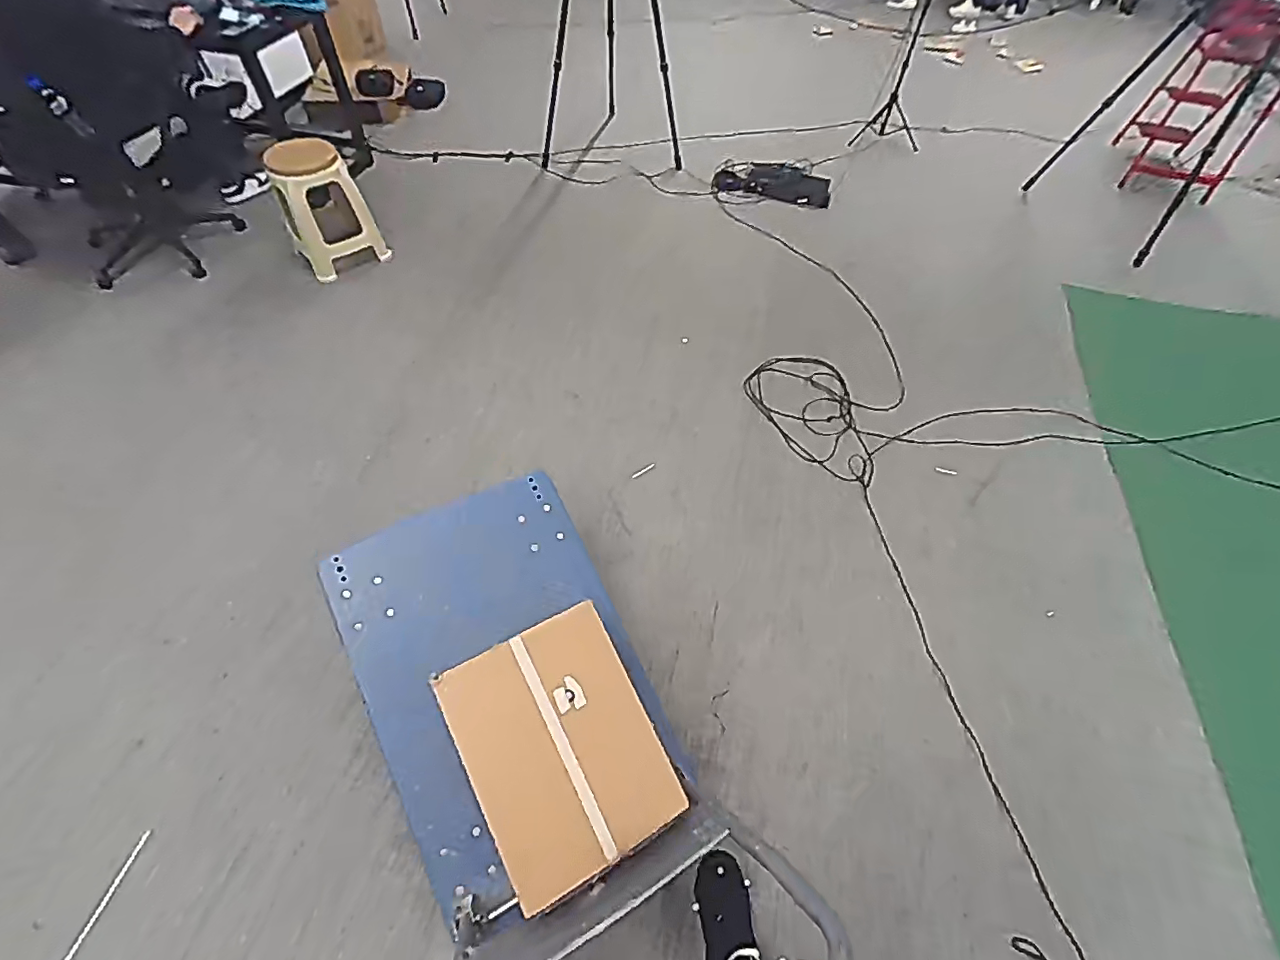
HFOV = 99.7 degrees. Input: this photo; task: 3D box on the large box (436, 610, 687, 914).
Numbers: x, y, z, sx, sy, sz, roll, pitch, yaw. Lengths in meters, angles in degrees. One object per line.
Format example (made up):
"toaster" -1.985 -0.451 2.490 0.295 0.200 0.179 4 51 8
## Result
"large box" -0.162 0.529 1.099 0.320 0.320 0.408 -24 77 -19
